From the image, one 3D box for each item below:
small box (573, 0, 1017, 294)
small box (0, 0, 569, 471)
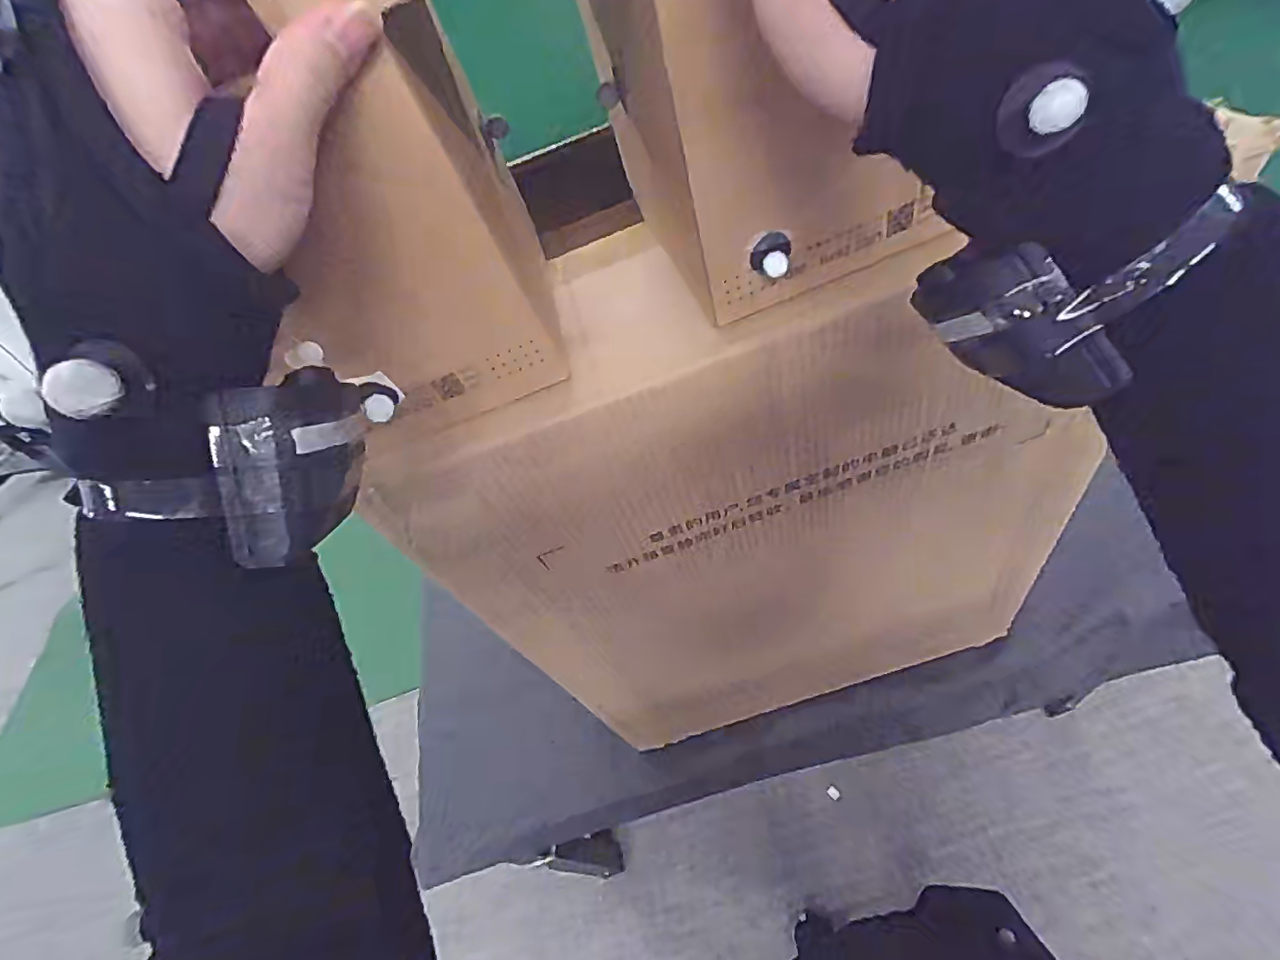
[{"bbox_3d":[0.070,-0.225,0.288,0.168,0.176,0.179,-22,49,1],"label":"small box"},{"bbox_3d":[-0.155,-0.137,0.304,0.168,0.176,0.179,-22,51,5],"label":"small box"}]
